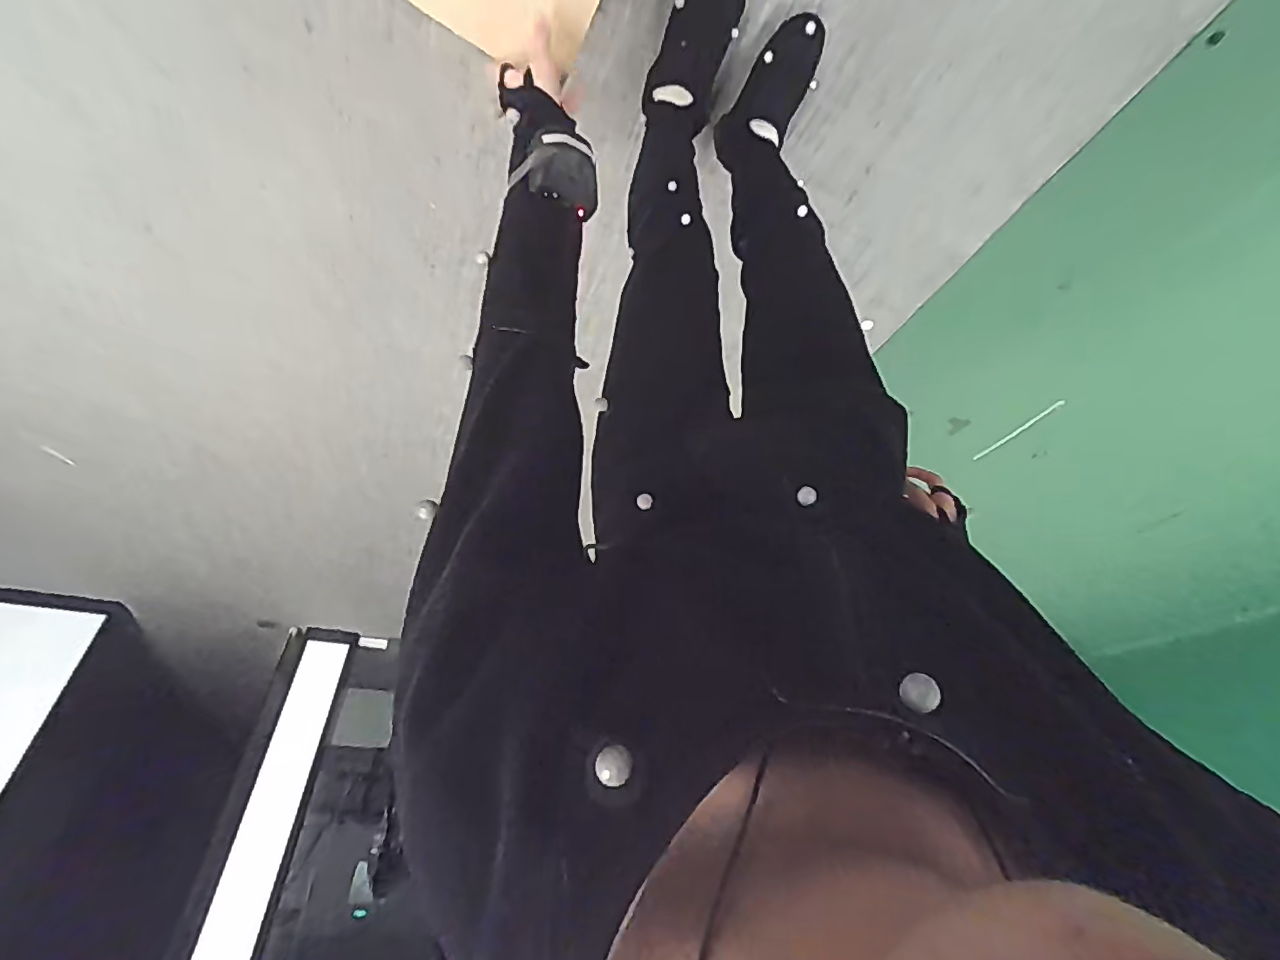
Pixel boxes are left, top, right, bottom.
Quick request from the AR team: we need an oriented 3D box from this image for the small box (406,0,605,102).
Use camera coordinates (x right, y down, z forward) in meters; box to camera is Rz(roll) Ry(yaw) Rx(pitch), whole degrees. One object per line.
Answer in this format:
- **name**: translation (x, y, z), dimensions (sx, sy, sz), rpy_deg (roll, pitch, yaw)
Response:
- **small box**: translation (-0.118, -0.537, 0.539), dimensions (0.179, 0.176, 0.168), rpy_deg (22, 137, -25)
